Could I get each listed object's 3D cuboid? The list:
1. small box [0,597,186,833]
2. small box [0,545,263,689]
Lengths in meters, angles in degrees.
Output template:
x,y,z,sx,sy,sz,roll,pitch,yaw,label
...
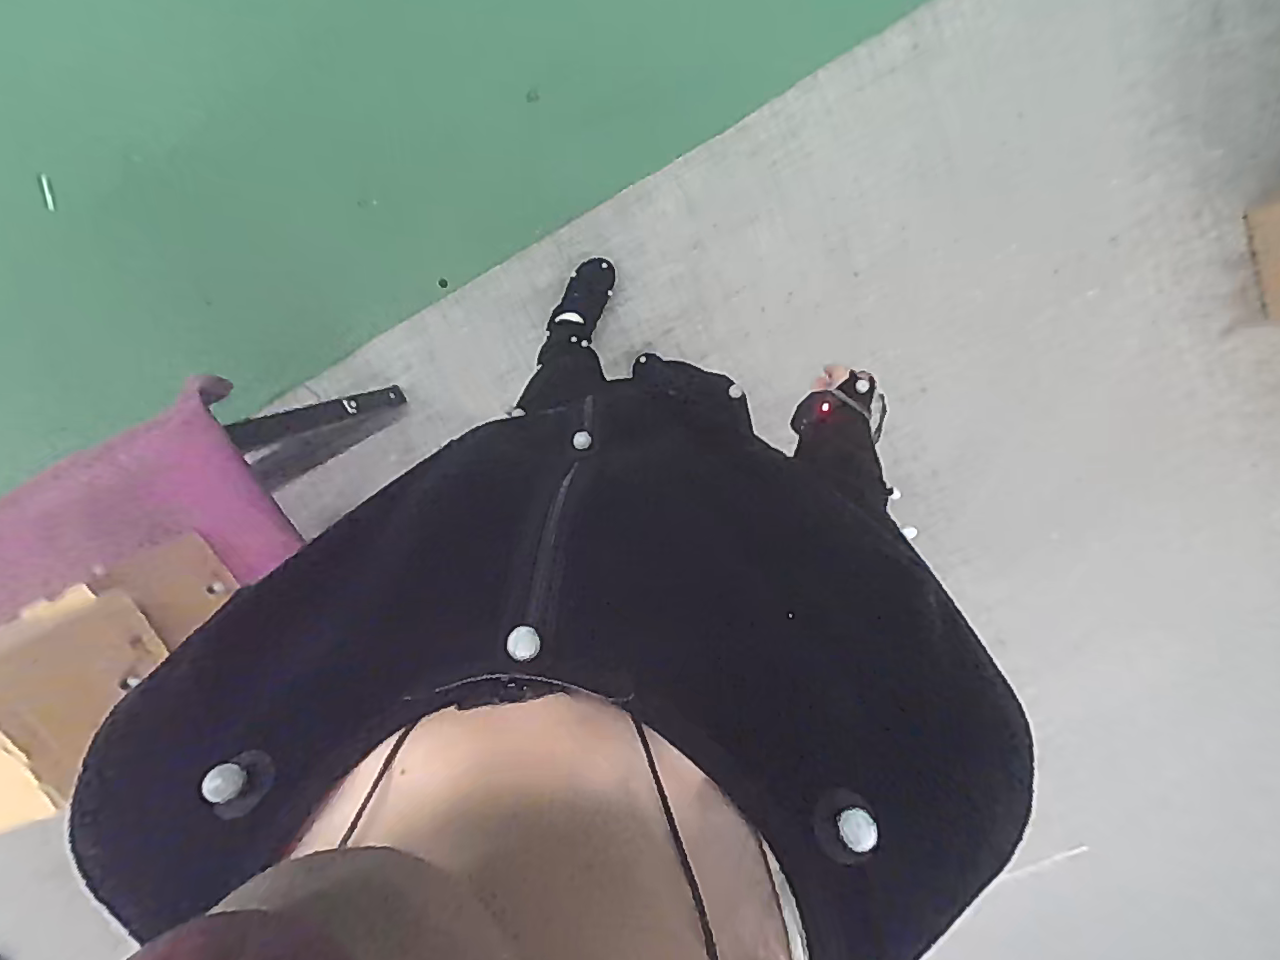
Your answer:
x,y,z,sx,sy,sz,roll,pitch,yaw,label
-0.666,0.254,0.587,0.179,0.176,0.168,-20,104,6,small box
-0.685,0.209,0.744,0.168,0.176,0.179,-27,102,10,small box
